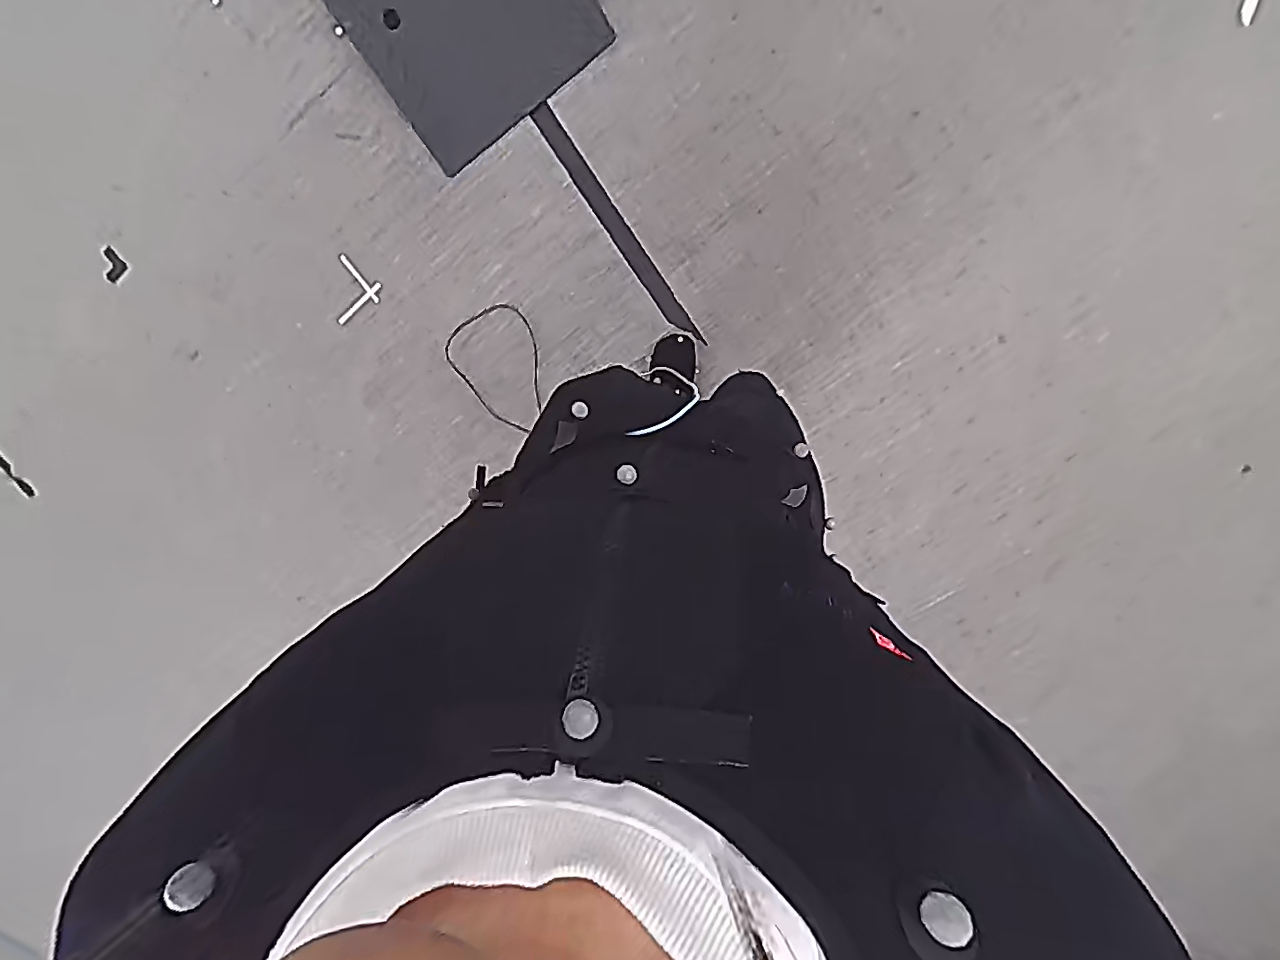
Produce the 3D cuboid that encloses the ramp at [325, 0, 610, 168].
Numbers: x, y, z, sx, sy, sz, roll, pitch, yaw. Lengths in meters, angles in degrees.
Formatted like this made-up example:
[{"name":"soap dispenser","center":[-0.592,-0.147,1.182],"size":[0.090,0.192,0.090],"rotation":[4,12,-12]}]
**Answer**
[{"name":"ramp","center":[-0.531,-1.233,1.057],"size":[0.509,0.206,0.991],"rotation":[-34,101,12]}]
